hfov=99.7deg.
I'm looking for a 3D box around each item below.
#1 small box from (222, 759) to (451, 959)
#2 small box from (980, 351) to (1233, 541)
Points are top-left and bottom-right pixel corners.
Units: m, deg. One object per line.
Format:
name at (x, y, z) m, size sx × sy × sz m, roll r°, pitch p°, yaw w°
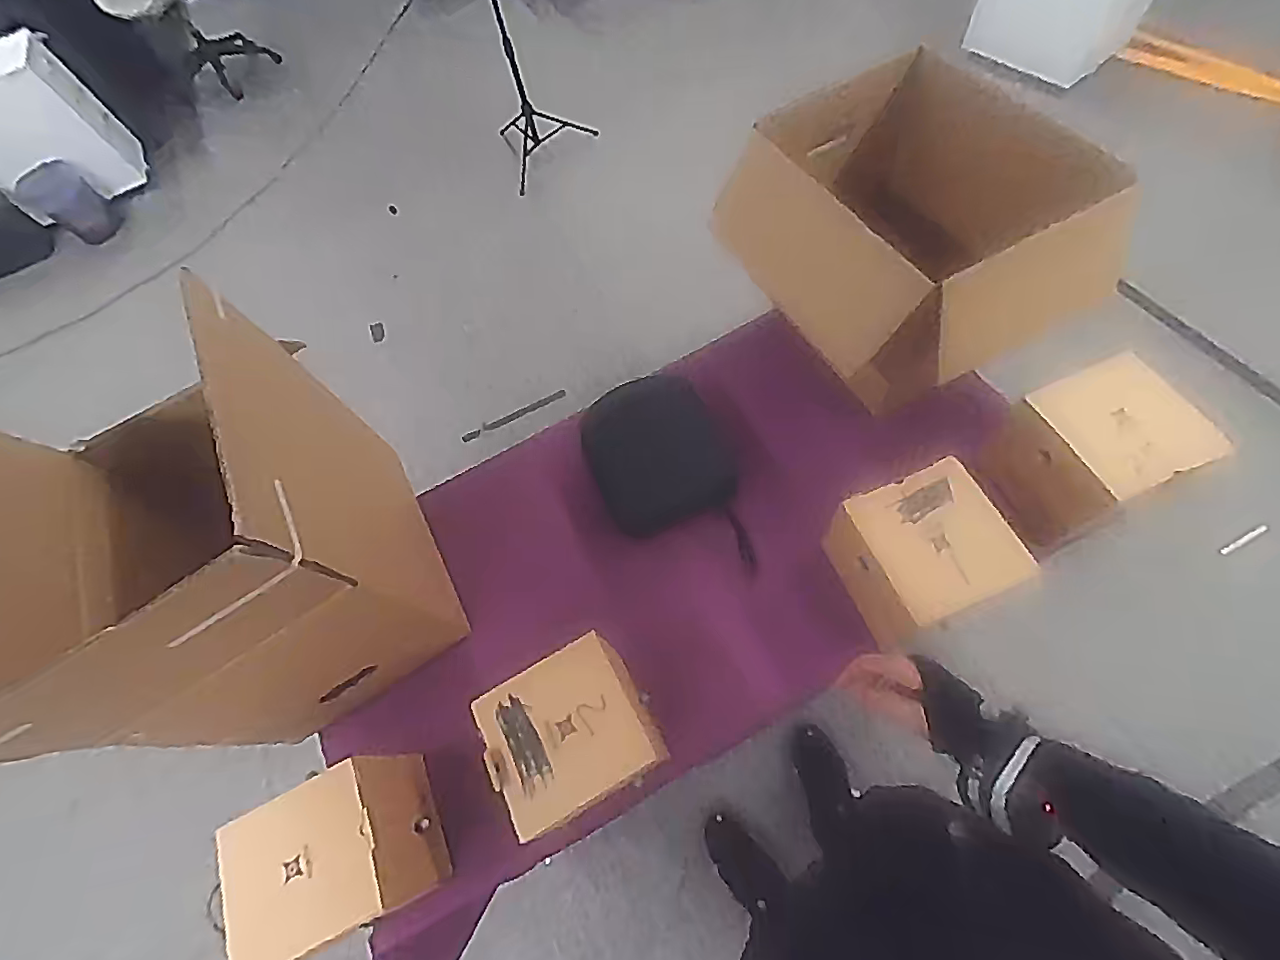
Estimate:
small box at (-0.371, 0.475, 0.679) m, size 0.179 × 0.176 × 0.168 m, roll -28°, pitch 63°, yaw -6°
small box at (0.627, -0.041, 0.761) m, size 0.168 × 0.176 × 0.179 m, roll -23°, pitch 63°, yaw -1°
